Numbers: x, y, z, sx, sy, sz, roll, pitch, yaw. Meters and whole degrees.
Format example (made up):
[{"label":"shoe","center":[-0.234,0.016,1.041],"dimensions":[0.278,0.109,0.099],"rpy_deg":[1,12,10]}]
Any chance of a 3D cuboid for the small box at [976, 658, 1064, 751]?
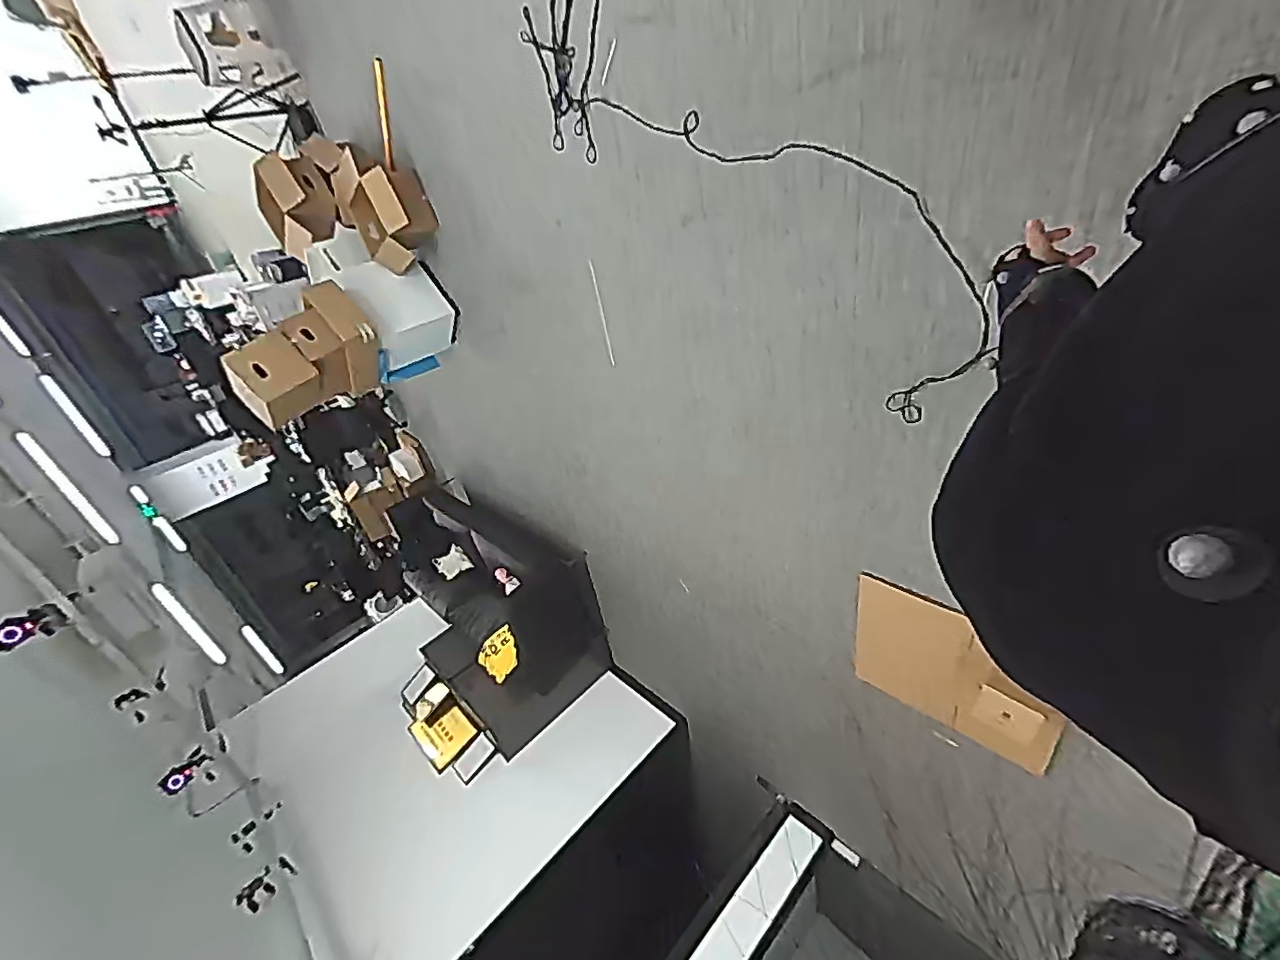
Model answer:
[{"label":"small box","center":[1.200,0.701,1.707],"dimensions":[0.168,0.176,0.179],"rpy_deg":[28,138,39]}]
